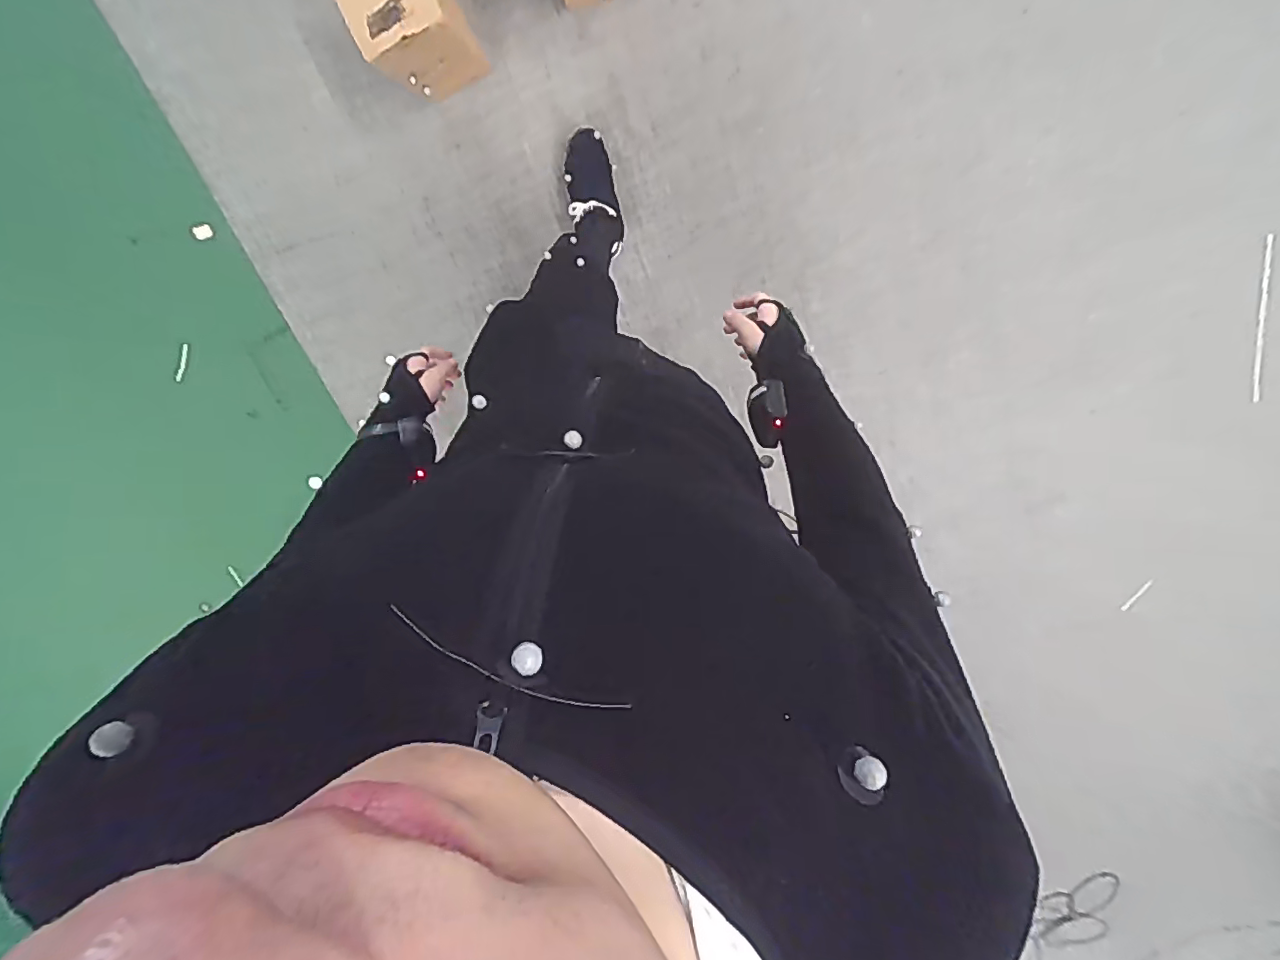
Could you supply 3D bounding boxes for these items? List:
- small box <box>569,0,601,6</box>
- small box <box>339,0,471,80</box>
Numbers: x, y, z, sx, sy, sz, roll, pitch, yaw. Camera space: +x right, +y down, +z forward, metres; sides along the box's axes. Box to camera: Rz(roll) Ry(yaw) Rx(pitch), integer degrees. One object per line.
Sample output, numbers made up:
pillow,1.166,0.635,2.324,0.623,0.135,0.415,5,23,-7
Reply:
small box,-0.091,-1.096,1.086,0.168,0.176,0.179,-12,115,4
small box,-0.442,-0.881,1.003,0.168,0.176,0.179,-21,112,9
